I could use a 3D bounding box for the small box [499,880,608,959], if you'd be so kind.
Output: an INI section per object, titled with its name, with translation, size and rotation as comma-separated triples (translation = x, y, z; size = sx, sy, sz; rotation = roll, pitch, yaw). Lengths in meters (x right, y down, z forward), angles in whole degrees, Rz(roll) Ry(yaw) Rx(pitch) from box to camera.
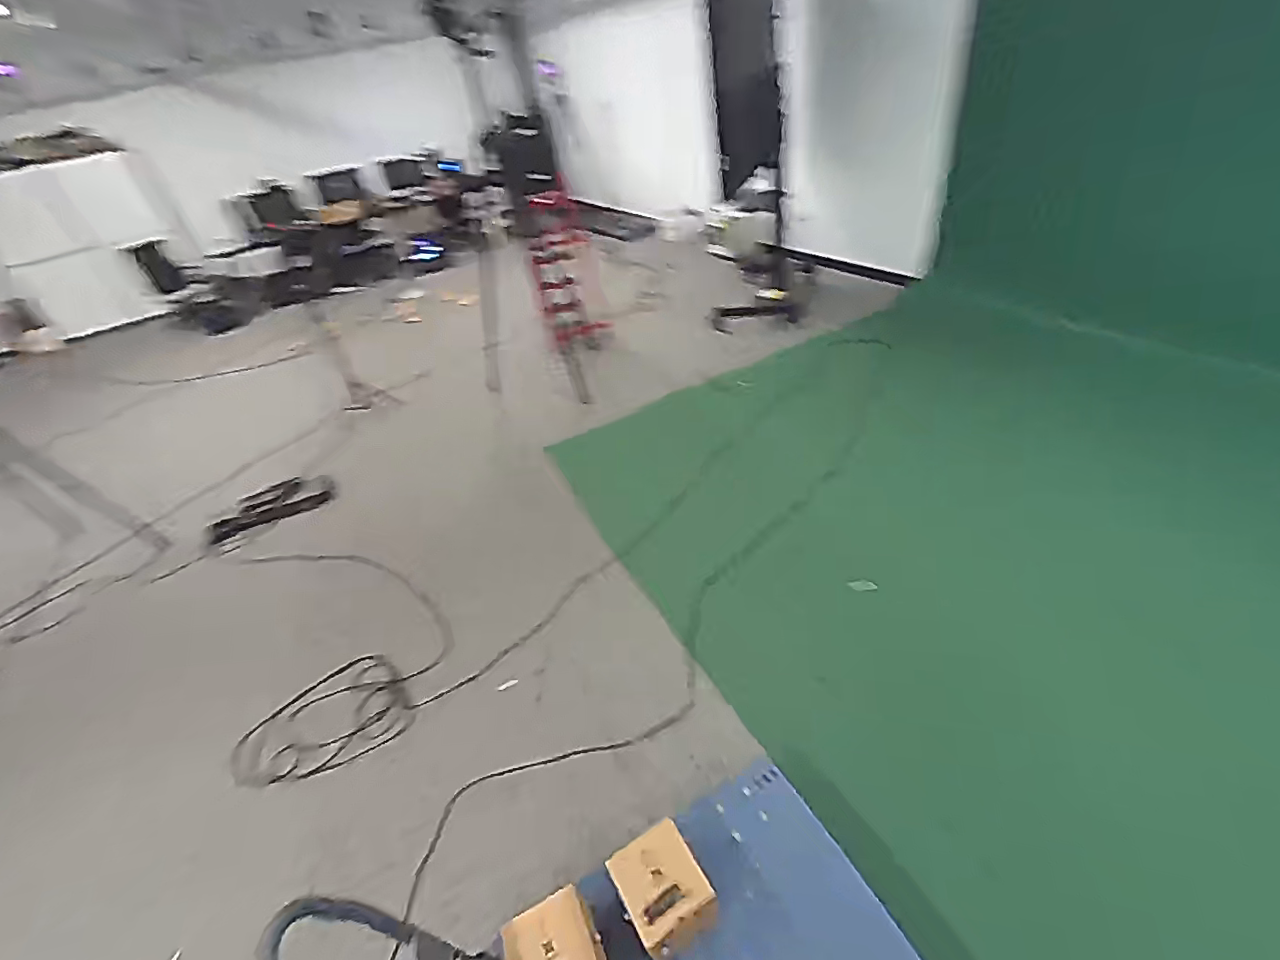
[small box]
translation = -0.166, 0.977, 1.105
size = 0.168, 0.176, 0.179
rotation = -24, 39, -15
